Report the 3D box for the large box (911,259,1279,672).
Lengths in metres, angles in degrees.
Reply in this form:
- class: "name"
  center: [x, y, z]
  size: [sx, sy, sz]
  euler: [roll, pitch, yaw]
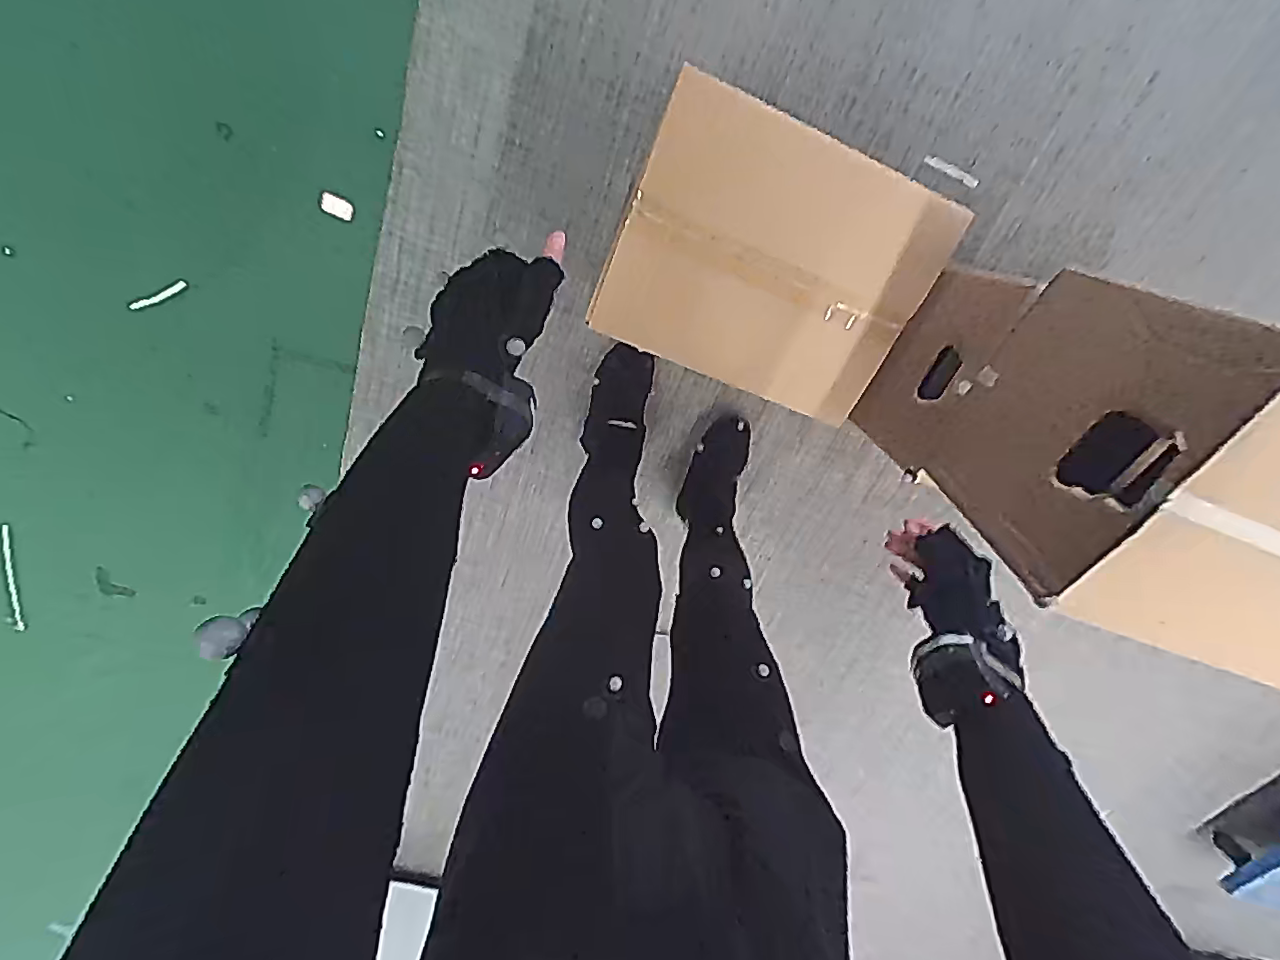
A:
- class: "large box"
  center: [0.648, -0.024, 0.667]
  size: [0.408, 0.320, 0.320]
  euler: [19, 120, -11]
